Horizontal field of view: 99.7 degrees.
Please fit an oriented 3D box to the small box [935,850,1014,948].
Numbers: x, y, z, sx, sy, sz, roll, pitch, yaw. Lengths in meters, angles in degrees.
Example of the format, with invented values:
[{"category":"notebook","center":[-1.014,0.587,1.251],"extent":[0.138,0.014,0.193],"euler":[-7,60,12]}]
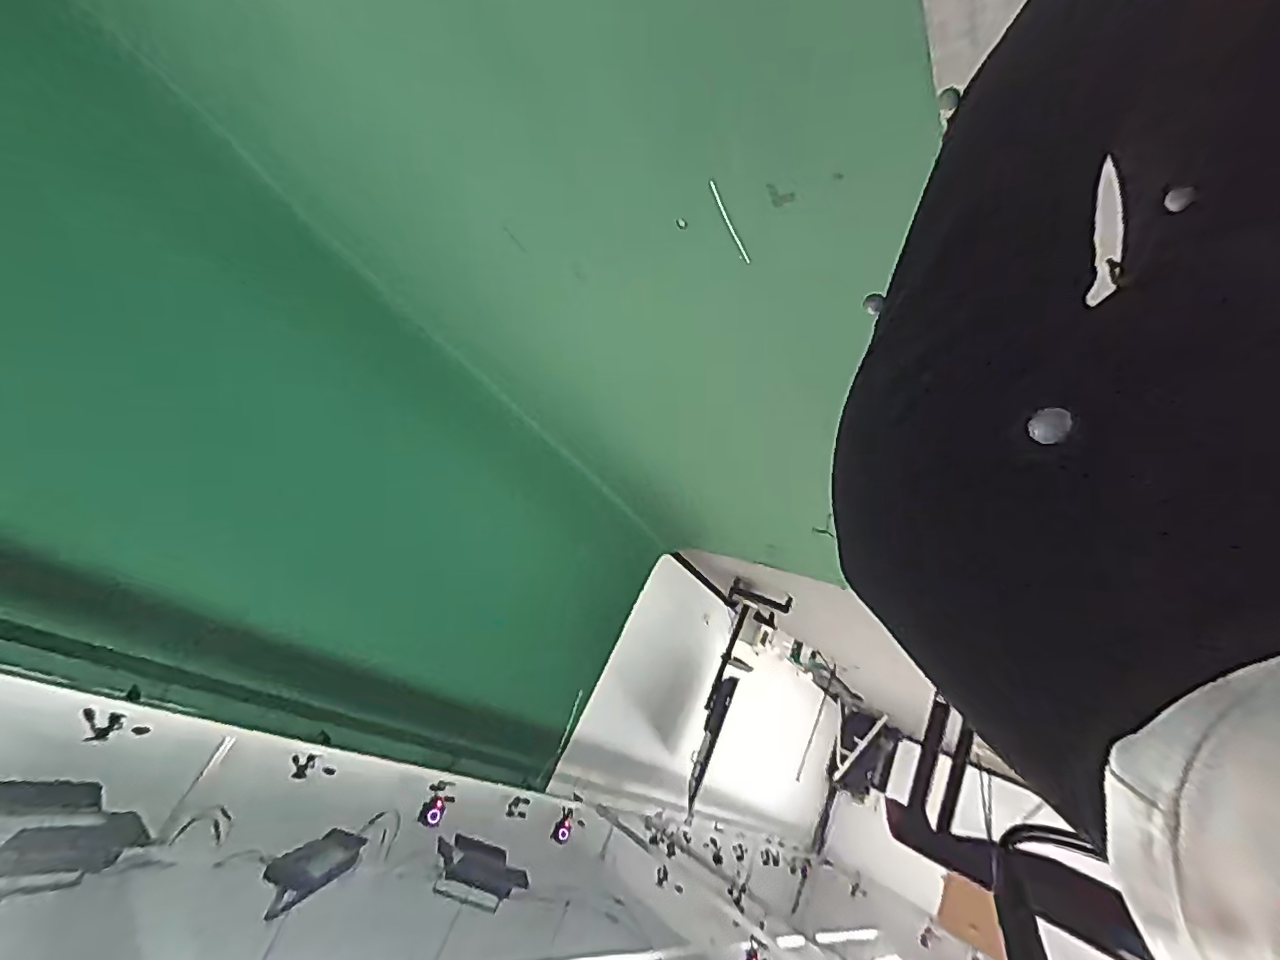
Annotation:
[{"category":"small box","center":[1.017,1.260,1.638],"extent":[0.179,0.176,0.168],"euler":[11,156,40]}]
